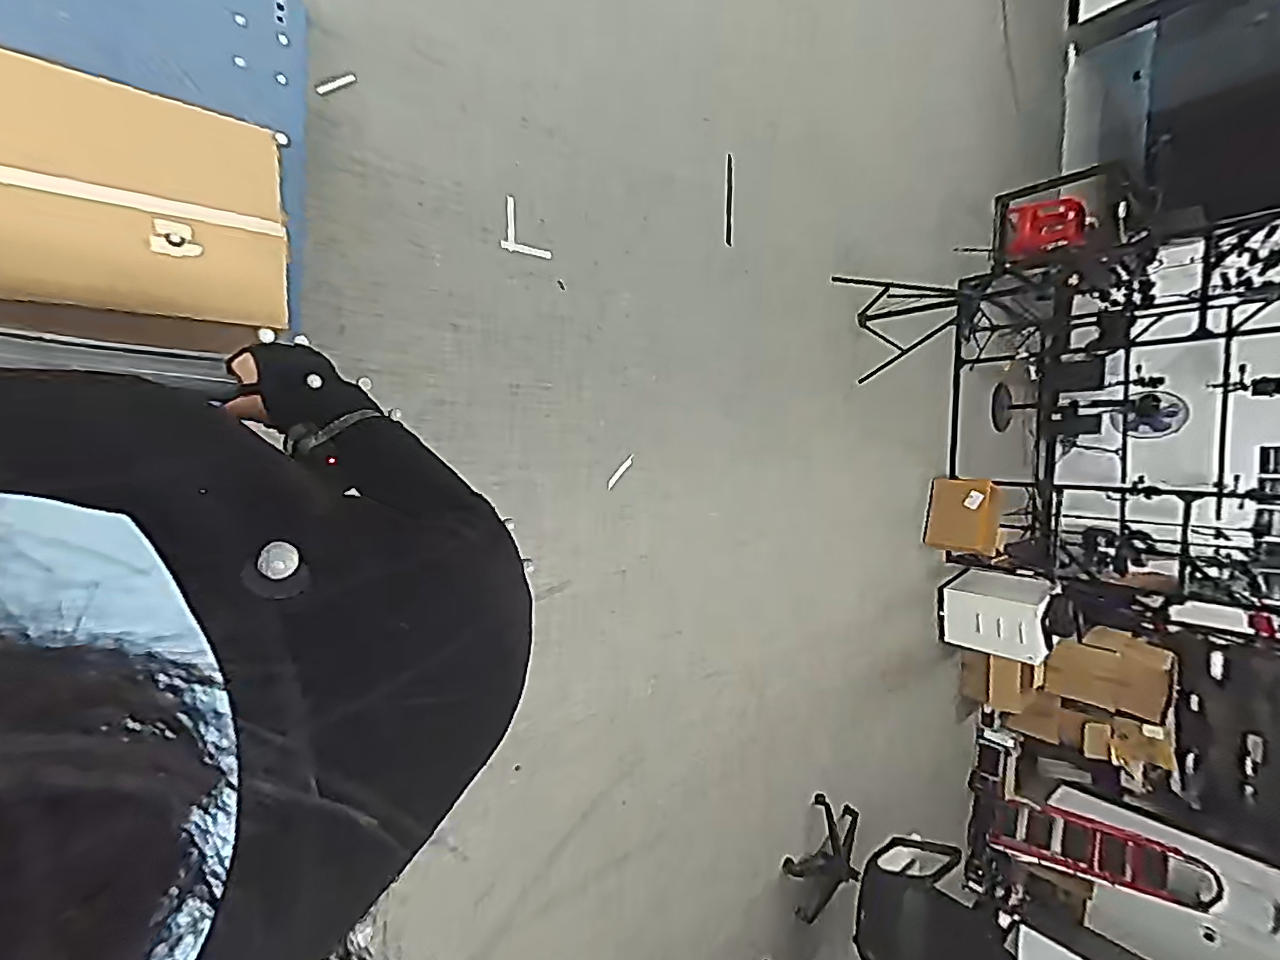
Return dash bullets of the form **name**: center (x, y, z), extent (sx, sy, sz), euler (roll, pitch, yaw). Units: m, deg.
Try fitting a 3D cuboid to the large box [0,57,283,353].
- **large box**: center (-0.840, -0.391, 0.860), extent (0.408, 0.320, 0.320), euler (-4, 96, -42)
